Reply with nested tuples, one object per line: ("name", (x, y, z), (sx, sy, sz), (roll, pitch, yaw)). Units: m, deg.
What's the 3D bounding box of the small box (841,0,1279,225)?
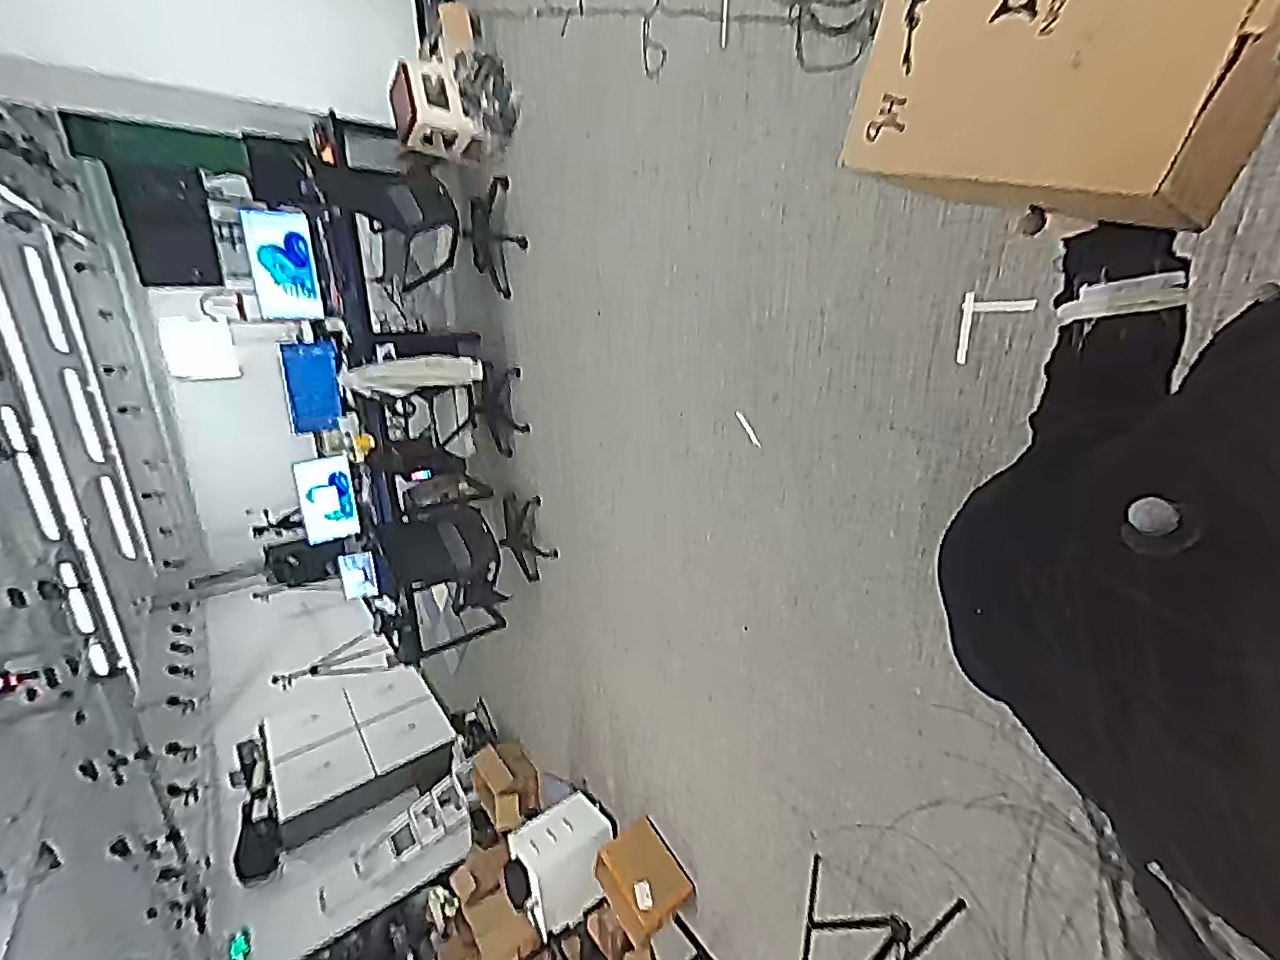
("small box", (0.260, -0.253, 0.315), (0.179, 0.176, 0.168), (36, 127, 40))
